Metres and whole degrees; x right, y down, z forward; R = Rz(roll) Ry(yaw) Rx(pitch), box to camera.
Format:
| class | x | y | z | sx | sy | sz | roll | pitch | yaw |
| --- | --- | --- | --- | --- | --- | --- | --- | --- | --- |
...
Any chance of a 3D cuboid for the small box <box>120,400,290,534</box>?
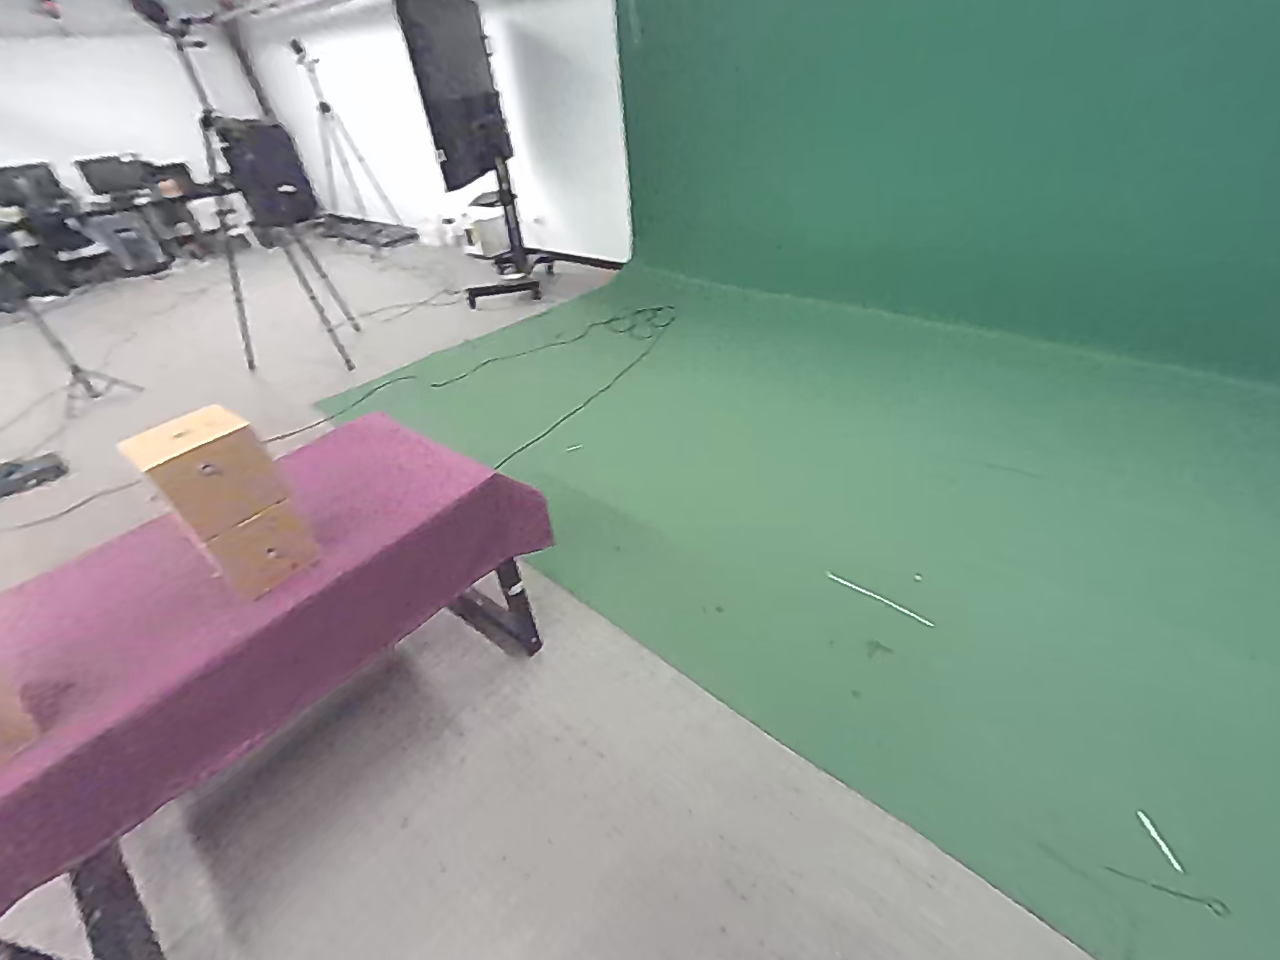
| class | x | y | z | sx | sy | sz | roll | pitch | yaw |
| --- | --- | --- | --- | --- | --- | --- | --- | --- | --- |
| small box | -0.819 | -0.025 | 1.033 | 0.168 | 0.176 | 0.179 | 23 | 45 | 31 |

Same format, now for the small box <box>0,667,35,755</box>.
| class | x | y | z | sx | sy | sz | roll | pitch | yaw |
| --- | --- | --- | --- | --- | --- | --- | --- | --- | --- |
| small box | -1.100 | 0.362 | 0.829 | 0.179 | 0.176 | 0.168 | 21 | 43 | 31 |

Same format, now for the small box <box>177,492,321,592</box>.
| class | x | y | z | sx | sy | sz | roll | pitch | yaw |
| --- | --- | --- | --- | --- | --- | --- | --- | --- | --- |
| small box | -0.811 | 0.107 | 1.132 | 0.179 | 0.176 | 0.168 | 24 | 45 | 32 |
